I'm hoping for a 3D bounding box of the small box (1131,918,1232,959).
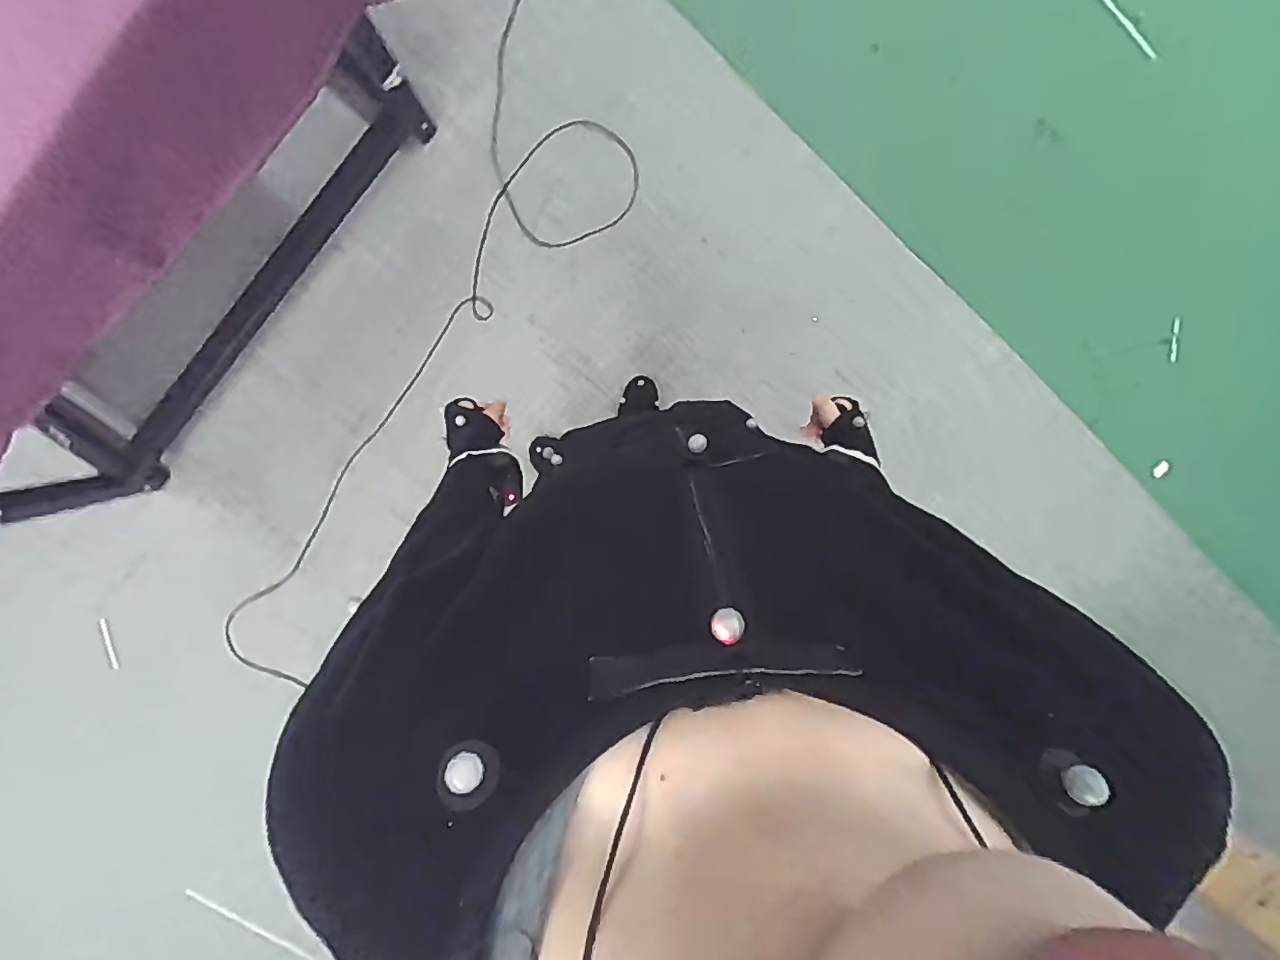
[{"bbox_3d":[1.102,1.012,1.036,0.168,0.176,0.179,44,94,-9],"label":"small box"}]
